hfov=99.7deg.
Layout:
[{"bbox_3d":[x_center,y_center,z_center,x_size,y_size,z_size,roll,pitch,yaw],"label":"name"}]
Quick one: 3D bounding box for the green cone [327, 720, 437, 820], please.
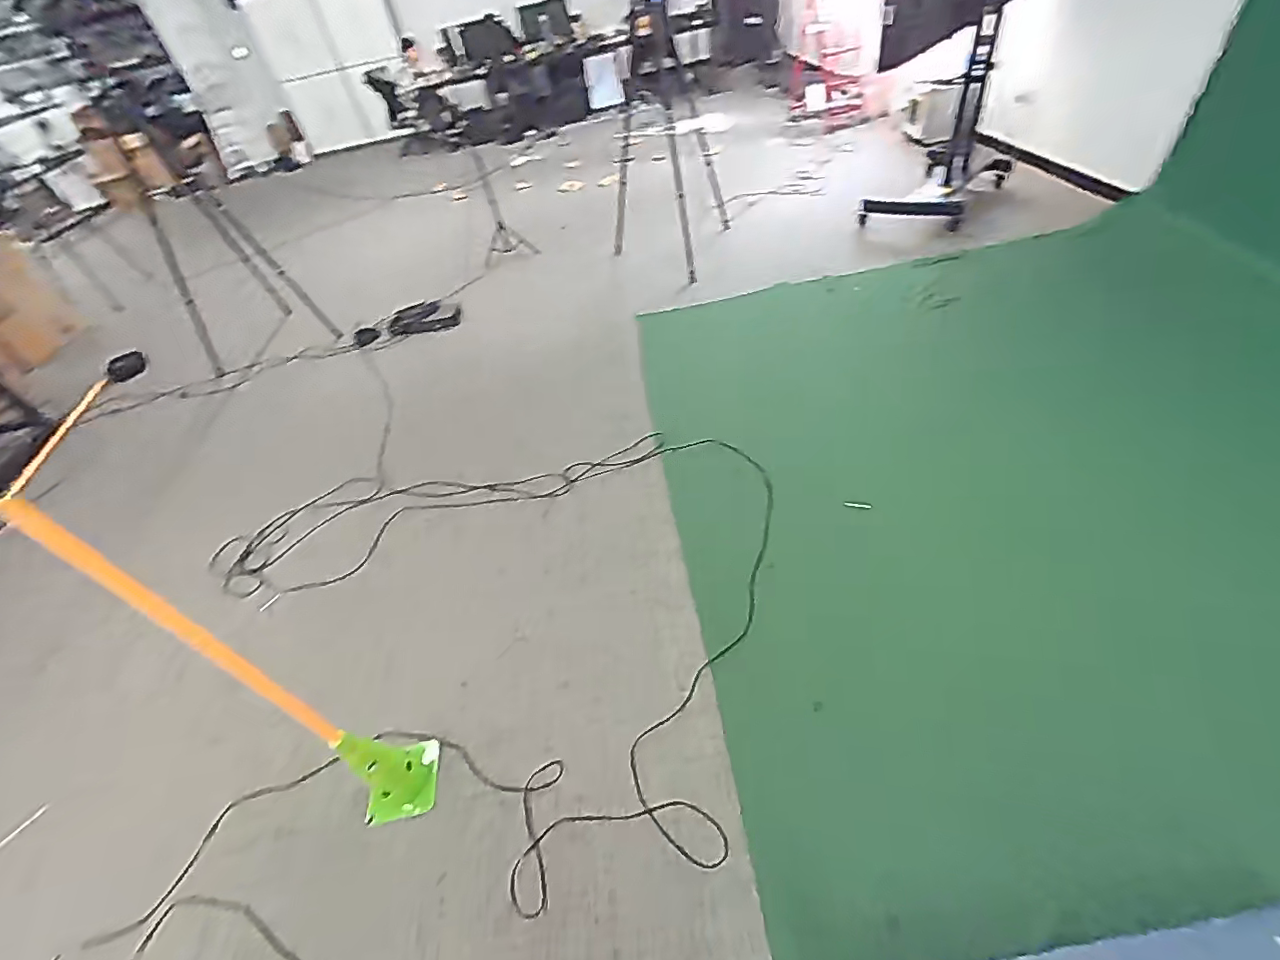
[{"bbox_3d":[-0.730,0.750,1.472,0.200,0.368,0.202,-14,43,-1],"label":"green cone"}]
